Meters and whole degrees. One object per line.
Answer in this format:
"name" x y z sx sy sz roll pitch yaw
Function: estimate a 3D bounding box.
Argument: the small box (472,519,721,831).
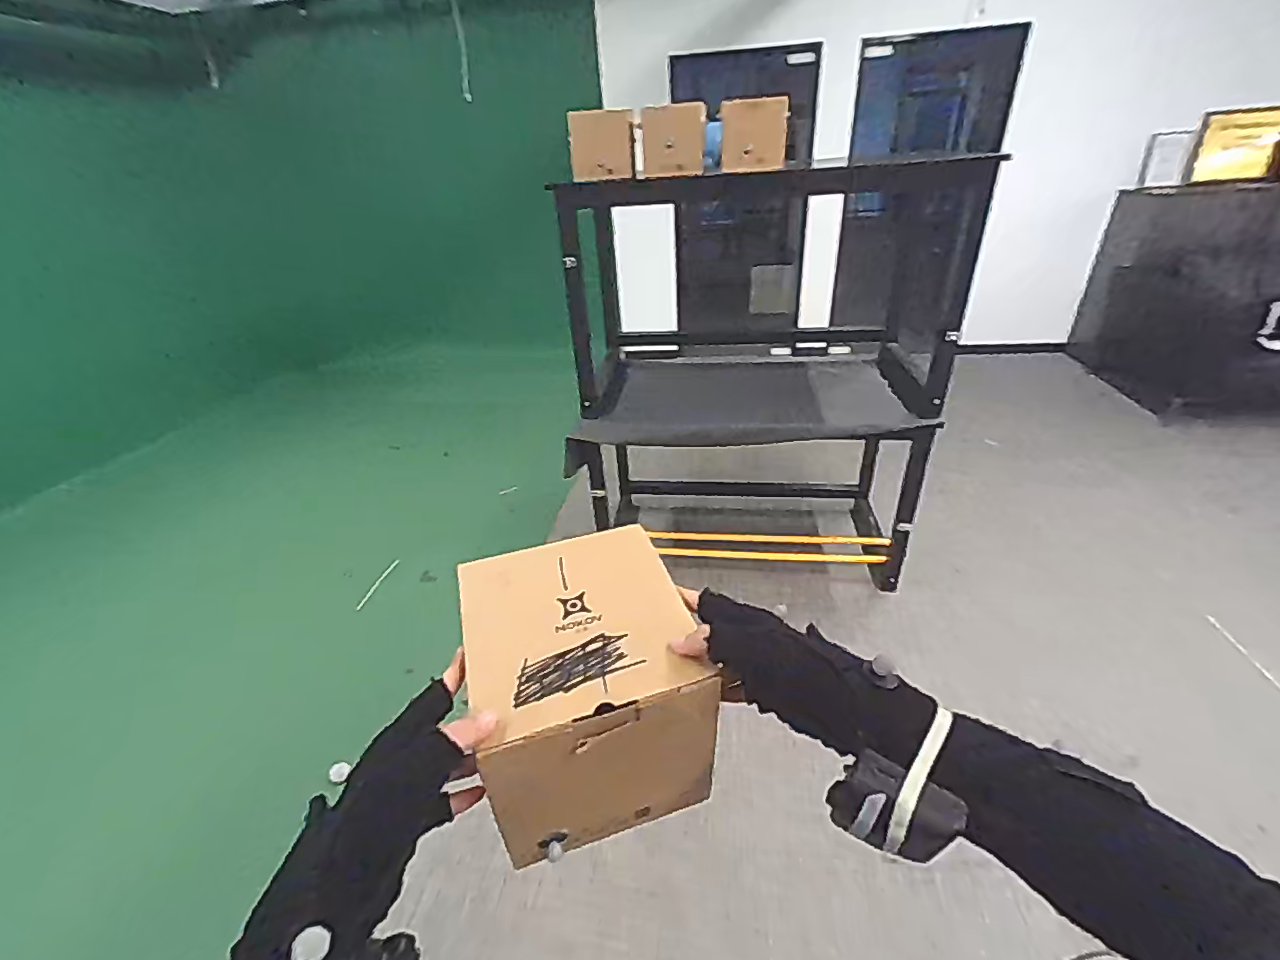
"small box" -0.041 0.164 0.463 0.168 0.176 0.179 -11 35 -14
